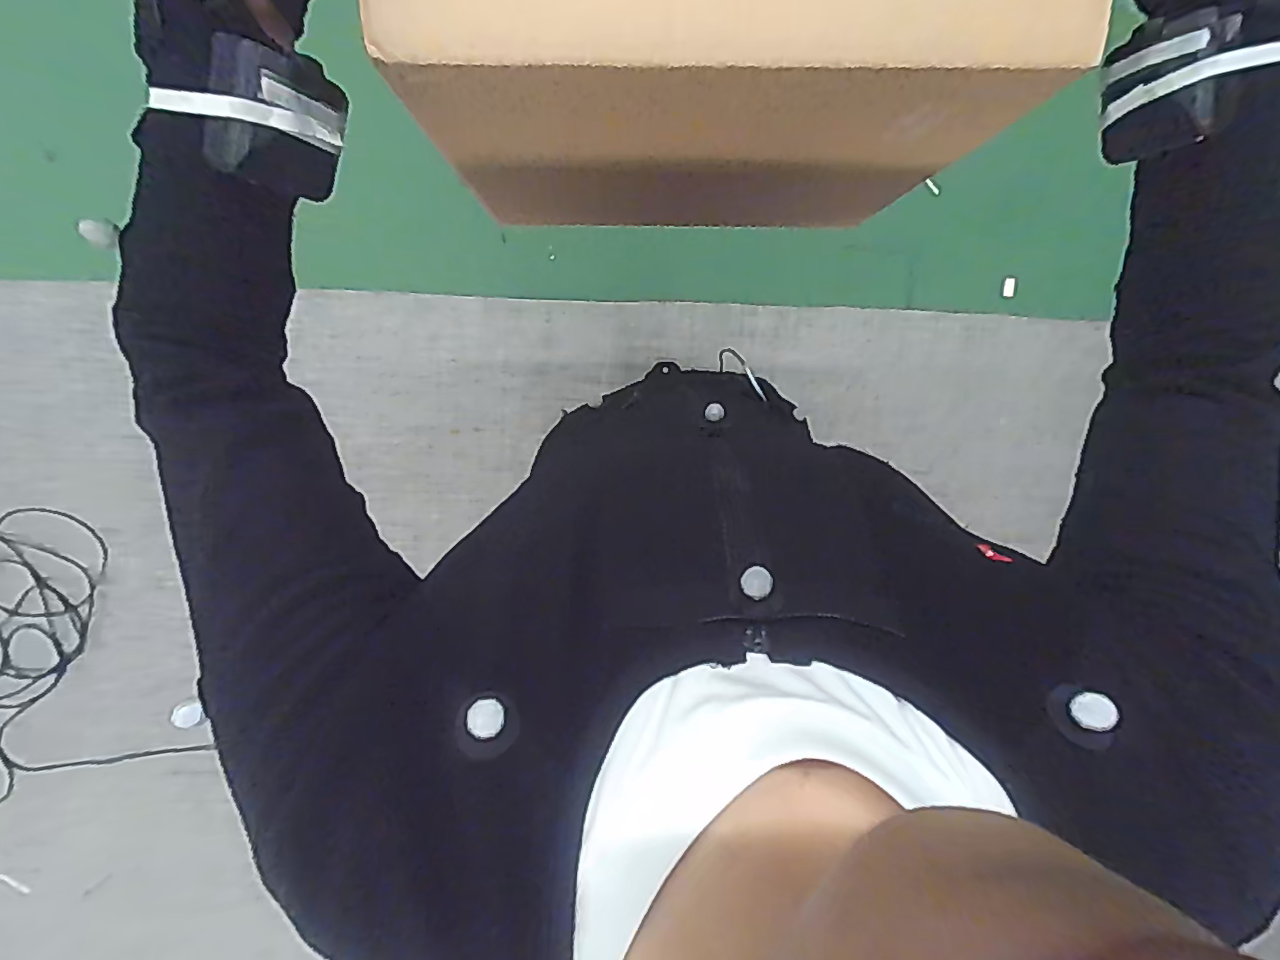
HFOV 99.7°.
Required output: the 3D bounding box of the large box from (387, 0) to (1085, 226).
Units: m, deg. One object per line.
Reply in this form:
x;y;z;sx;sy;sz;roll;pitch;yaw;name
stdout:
0.047;-0.413;0.430;0.408;0.320;0.320;-1;101;-2;large box
